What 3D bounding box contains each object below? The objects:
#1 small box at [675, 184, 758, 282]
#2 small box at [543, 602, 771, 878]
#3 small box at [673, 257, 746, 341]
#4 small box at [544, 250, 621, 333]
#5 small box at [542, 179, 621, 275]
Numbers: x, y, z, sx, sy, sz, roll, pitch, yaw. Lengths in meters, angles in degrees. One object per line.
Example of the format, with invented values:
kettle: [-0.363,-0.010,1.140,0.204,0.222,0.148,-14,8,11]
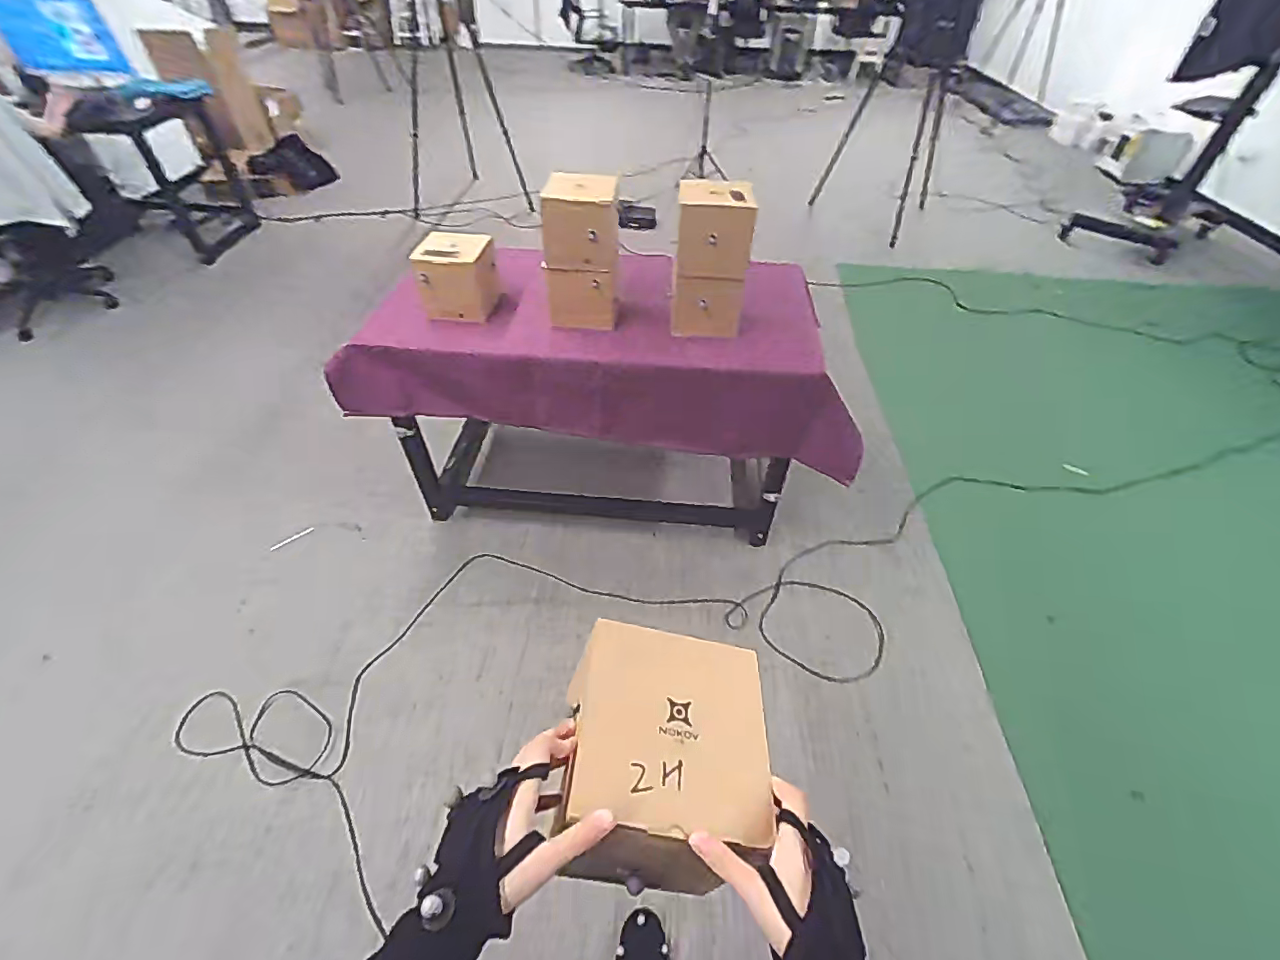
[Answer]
small box: [0.180,-0.596,1.311,0.179,0.176,0.168,3,45,2]
small box: [0.009,0.253,0.527,0.168,0.176,0.179,14,40,-7]
small box: [0.178,-0.484,1.431,0.179,0.176,0.168,2,46,2]
small box: [-0.148,-0.513,1.456,0.179,0.176,0.168,6,45,3]
small box: [-0.137,-0.625,1.338,0.168,0.176,0.179,5,45,1]
